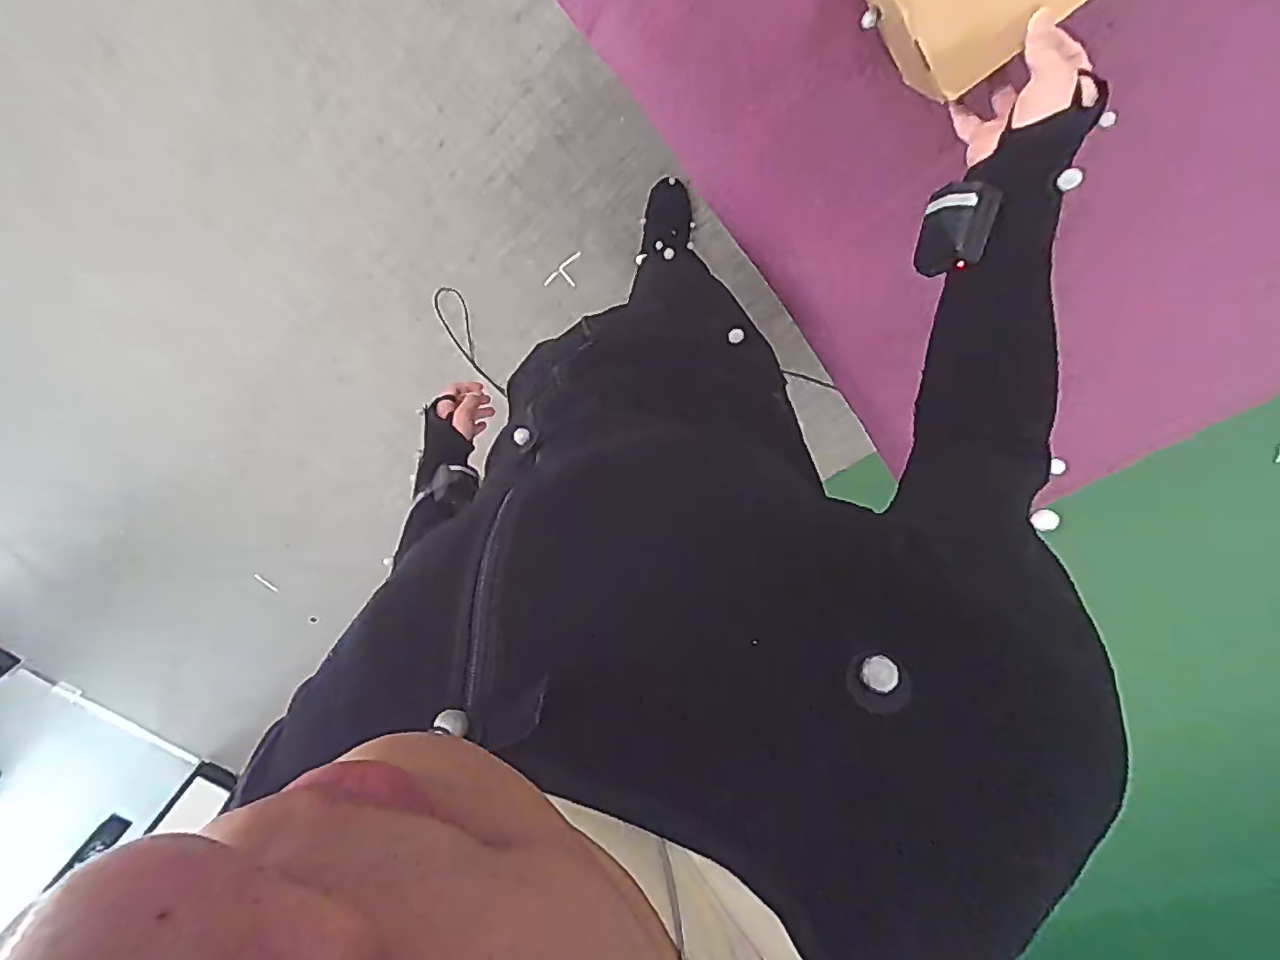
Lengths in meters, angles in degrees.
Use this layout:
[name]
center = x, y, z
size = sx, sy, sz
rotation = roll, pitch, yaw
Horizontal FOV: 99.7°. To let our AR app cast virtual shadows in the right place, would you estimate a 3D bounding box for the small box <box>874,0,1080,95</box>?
[small box]
center = 0.296, -0.477, 0.456
size = 0.179, 0.176, 0.168
rotation = -28, 120, 32
